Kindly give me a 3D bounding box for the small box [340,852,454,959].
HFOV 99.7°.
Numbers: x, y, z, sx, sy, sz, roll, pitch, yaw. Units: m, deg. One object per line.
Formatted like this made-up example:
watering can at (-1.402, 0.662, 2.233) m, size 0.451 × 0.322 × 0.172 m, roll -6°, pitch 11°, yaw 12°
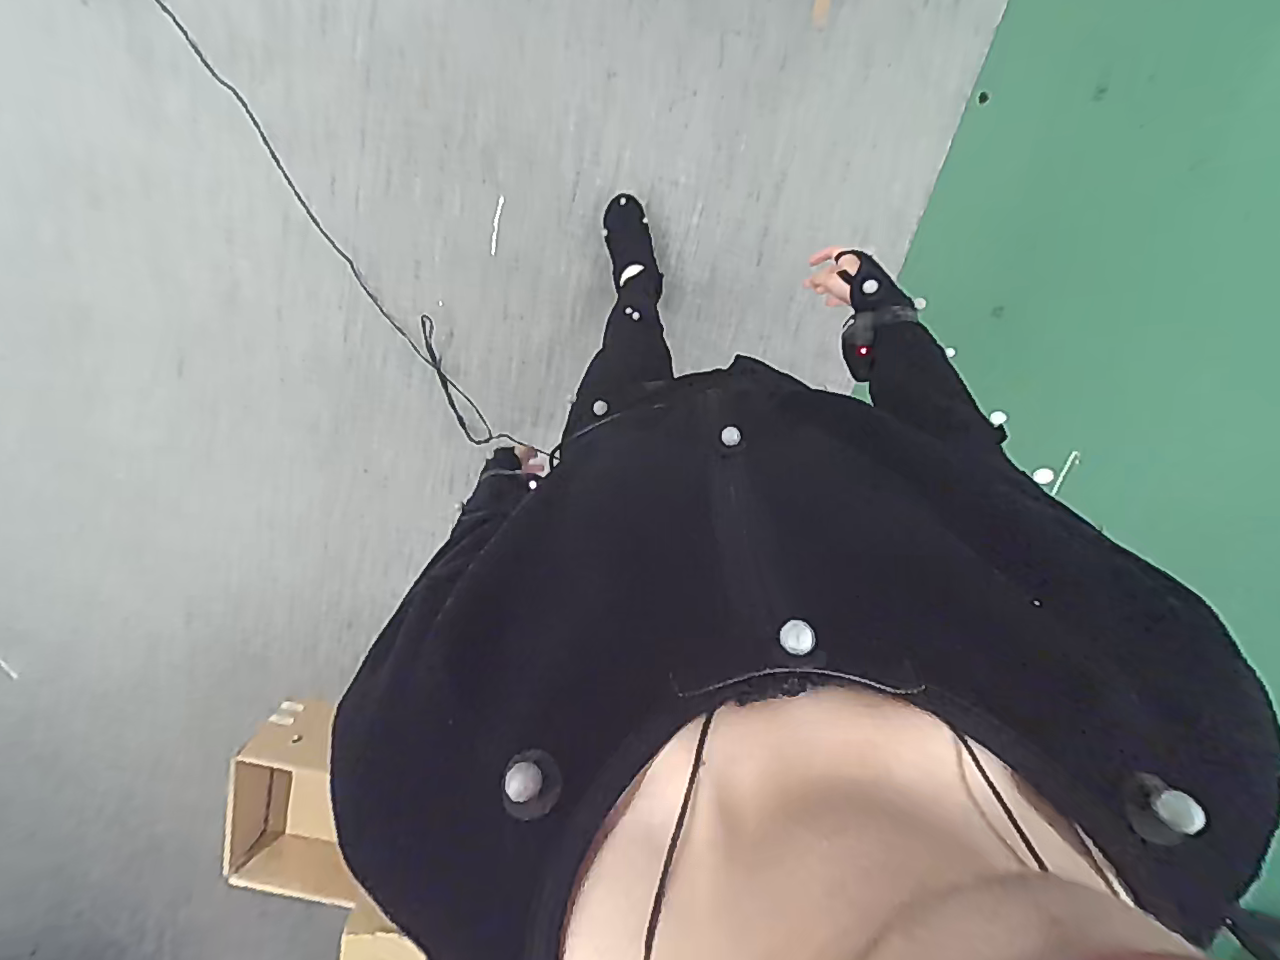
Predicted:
small box at (-0.507, 0.929, 1.138) m, size 0.168 × 0.176 × 0.179 m, roll 13°, pitch 107°, yaw -3°
